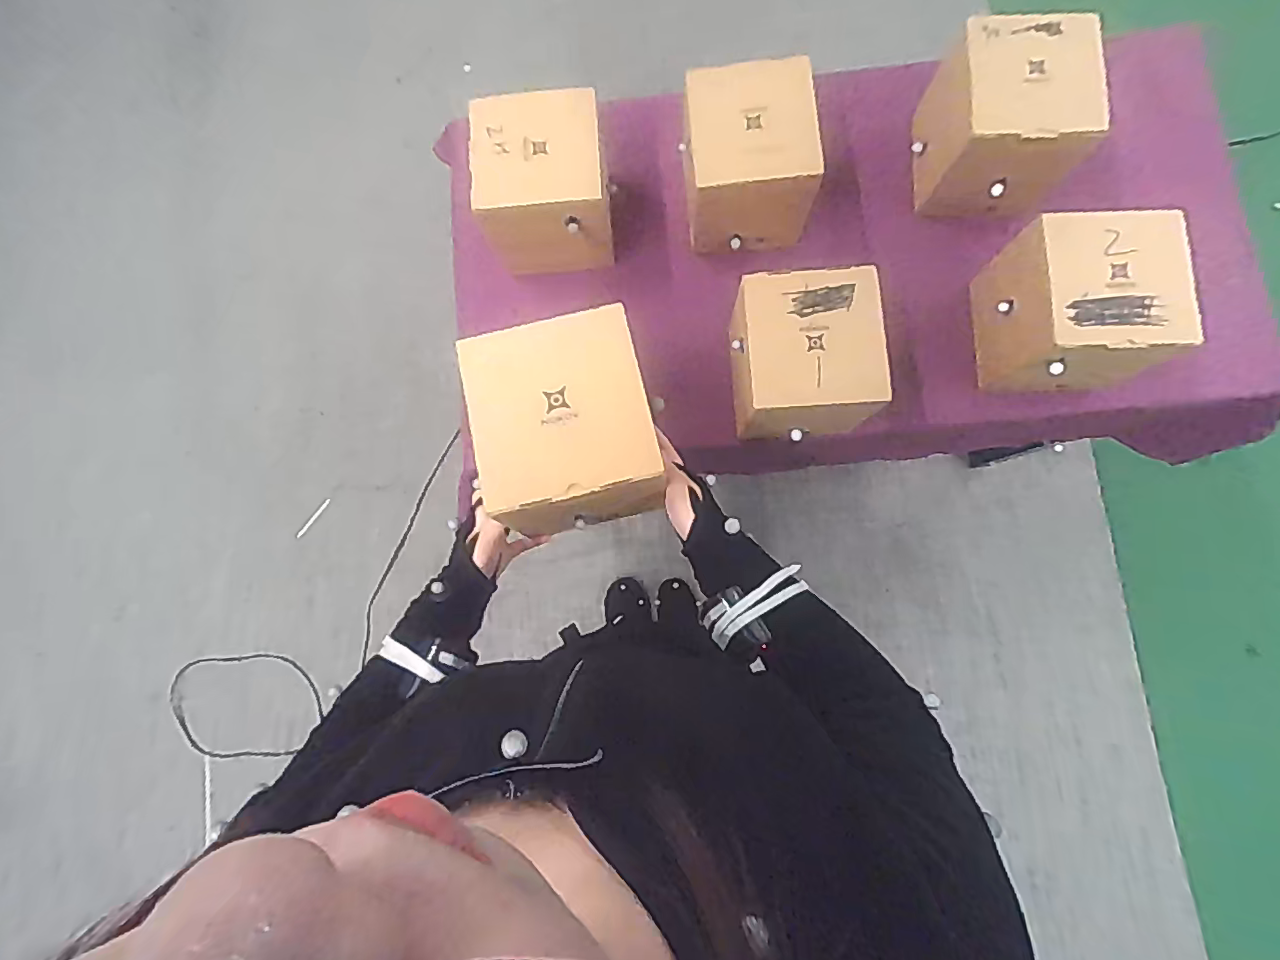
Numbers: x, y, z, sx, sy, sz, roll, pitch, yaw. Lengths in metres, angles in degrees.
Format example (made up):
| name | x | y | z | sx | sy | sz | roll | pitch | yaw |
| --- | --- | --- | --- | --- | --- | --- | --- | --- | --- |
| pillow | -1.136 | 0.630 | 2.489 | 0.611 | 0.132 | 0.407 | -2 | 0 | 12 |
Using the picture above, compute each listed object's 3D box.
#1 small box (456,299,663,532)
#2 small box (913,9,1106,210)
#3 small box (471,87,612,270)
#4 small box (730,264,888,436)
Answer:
| name | x | y | z | sx | sy | sz | roll | pitch | yaw |
| --- | --- | --- | --- | --- | --- | --- | --- | --- | --- |
| small box | -0.075 | -0.056 | 0.570 | 0.168 | 0.176 | 0.179 | -13 | 77 | -1 |
| small box | 0.505 | -0.507 | 0.763 | 0.168 | 0.176 | 0.179 | 2 | 83 | 3 |
| small box | -0.135 | -0.430 | 0.795 | 0.179 | 0.176 | 0.168 | -4 | 82 | 3 |
| small box | 0.215 | -0.166 | 0.734 | 0.168 | 0.176 | 0.179 | -3 | 82 | 4 |
